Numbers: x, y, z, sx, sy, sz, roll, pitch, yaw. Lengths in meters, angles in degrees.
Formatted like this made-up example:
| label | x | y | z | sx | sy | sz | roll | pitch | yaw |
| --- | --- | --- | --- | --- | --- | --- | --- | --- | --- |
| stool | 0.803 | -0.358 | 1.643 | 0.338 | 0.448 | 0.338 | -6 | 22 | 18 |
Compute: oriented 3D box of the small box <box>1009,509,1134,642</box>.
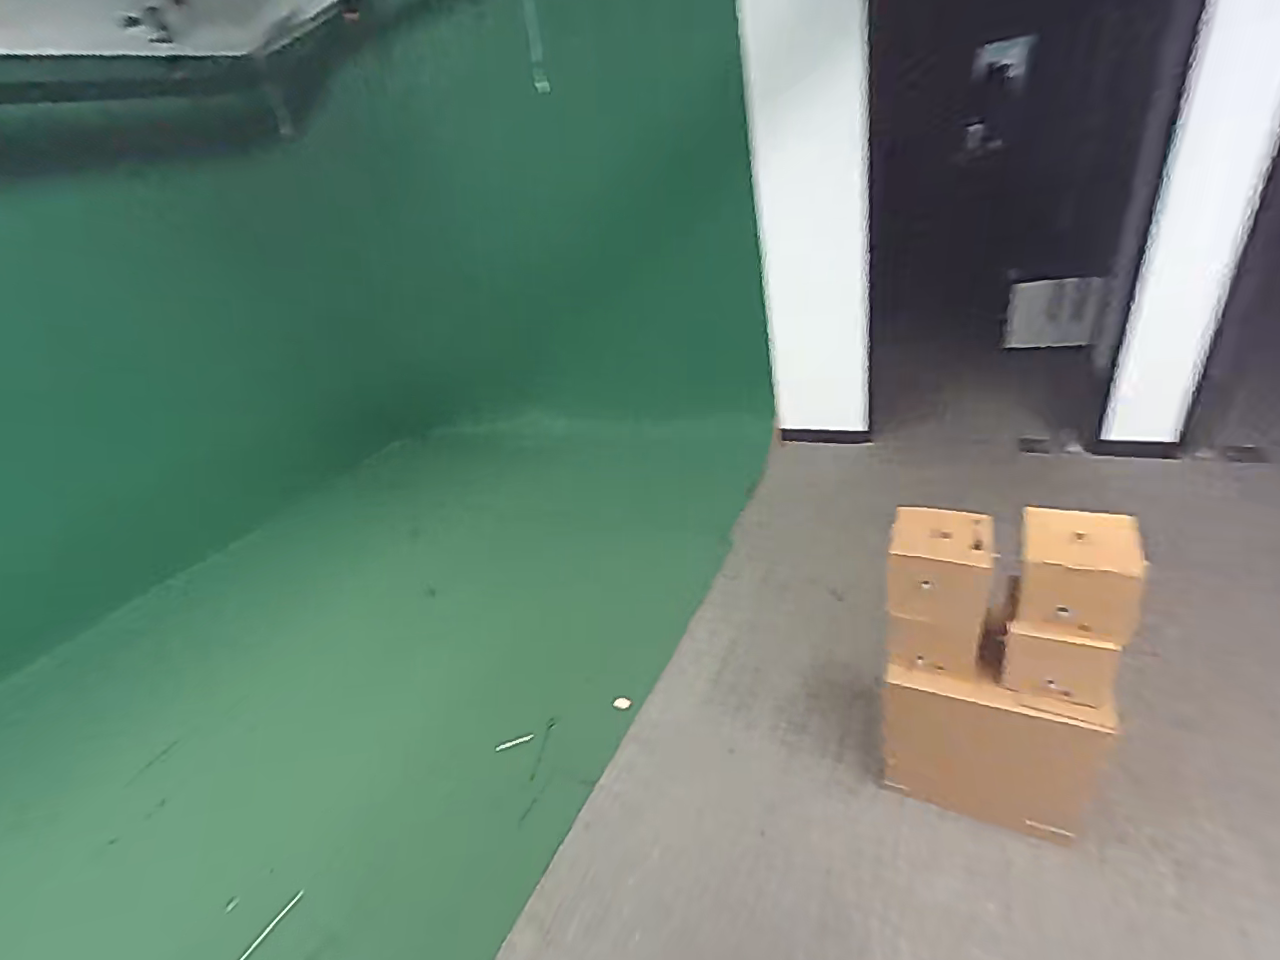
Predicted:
| label | x | y | z | sx | sy | sz | roll | pitch | yaw |
| --- | --- | --- | --- | --- | --- | --- | --- | --- | --- |
| small box | 0.832 | 0.182 | 1.058 | 0.168 | 0.176 | 0.179 | 6 | 35 | 33 |
